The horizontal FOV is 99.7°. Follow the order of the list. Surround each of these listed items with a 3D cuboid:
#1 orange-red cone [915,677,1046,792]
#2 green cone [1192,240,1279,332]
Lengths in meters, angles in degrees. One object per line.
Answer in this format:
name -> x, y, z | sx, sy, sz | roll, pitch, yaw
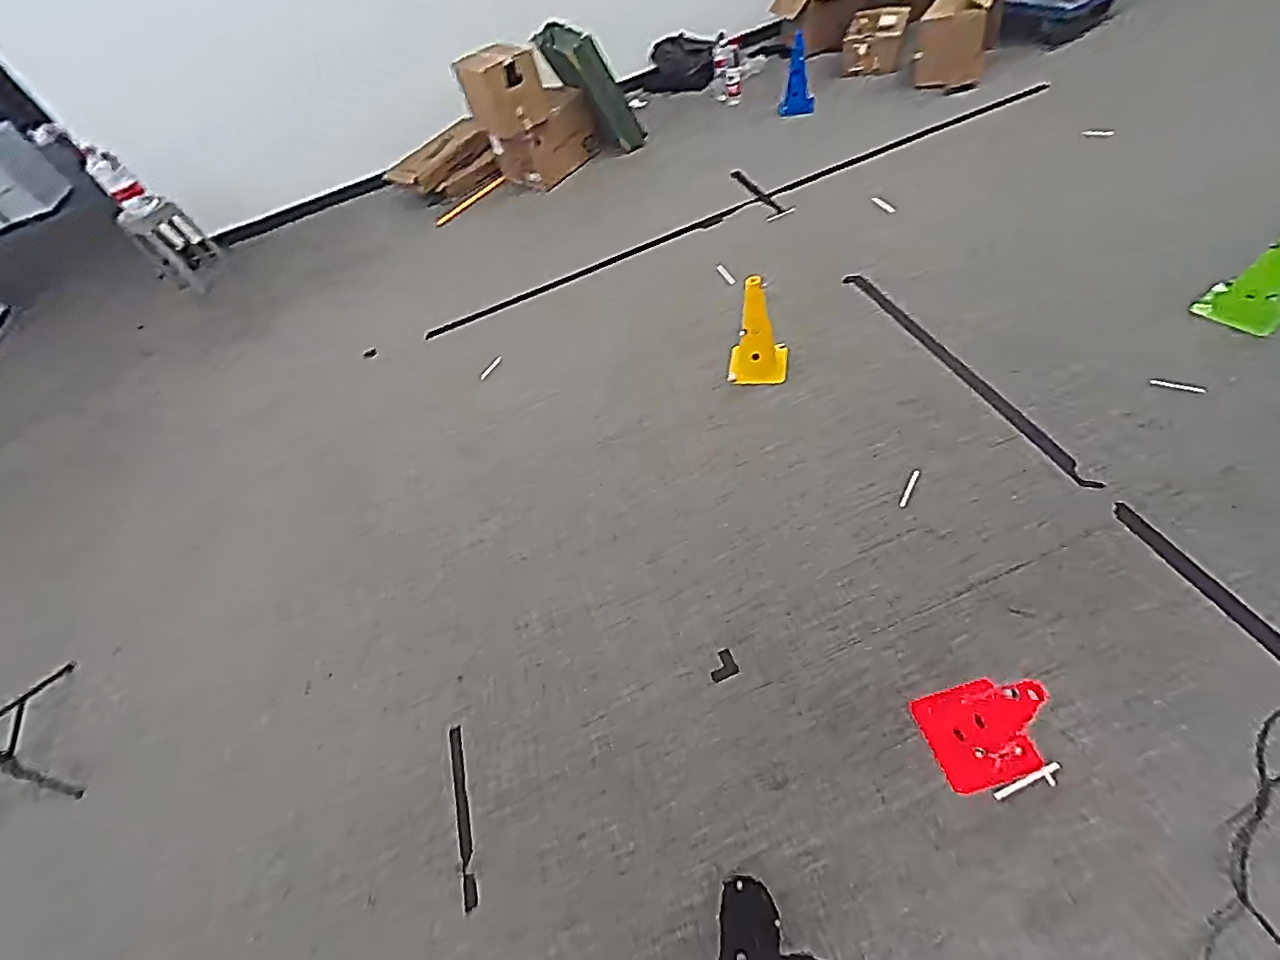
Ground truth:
orange-red cone -> 0.698, 0.454, 1.048 | 0.198, 0.360, 0.199 | -17, 50, 1
green cone -> 1.867, -0.648, 1.569 | 0.200, 0.368, 0.202 | -36, 55, -12
